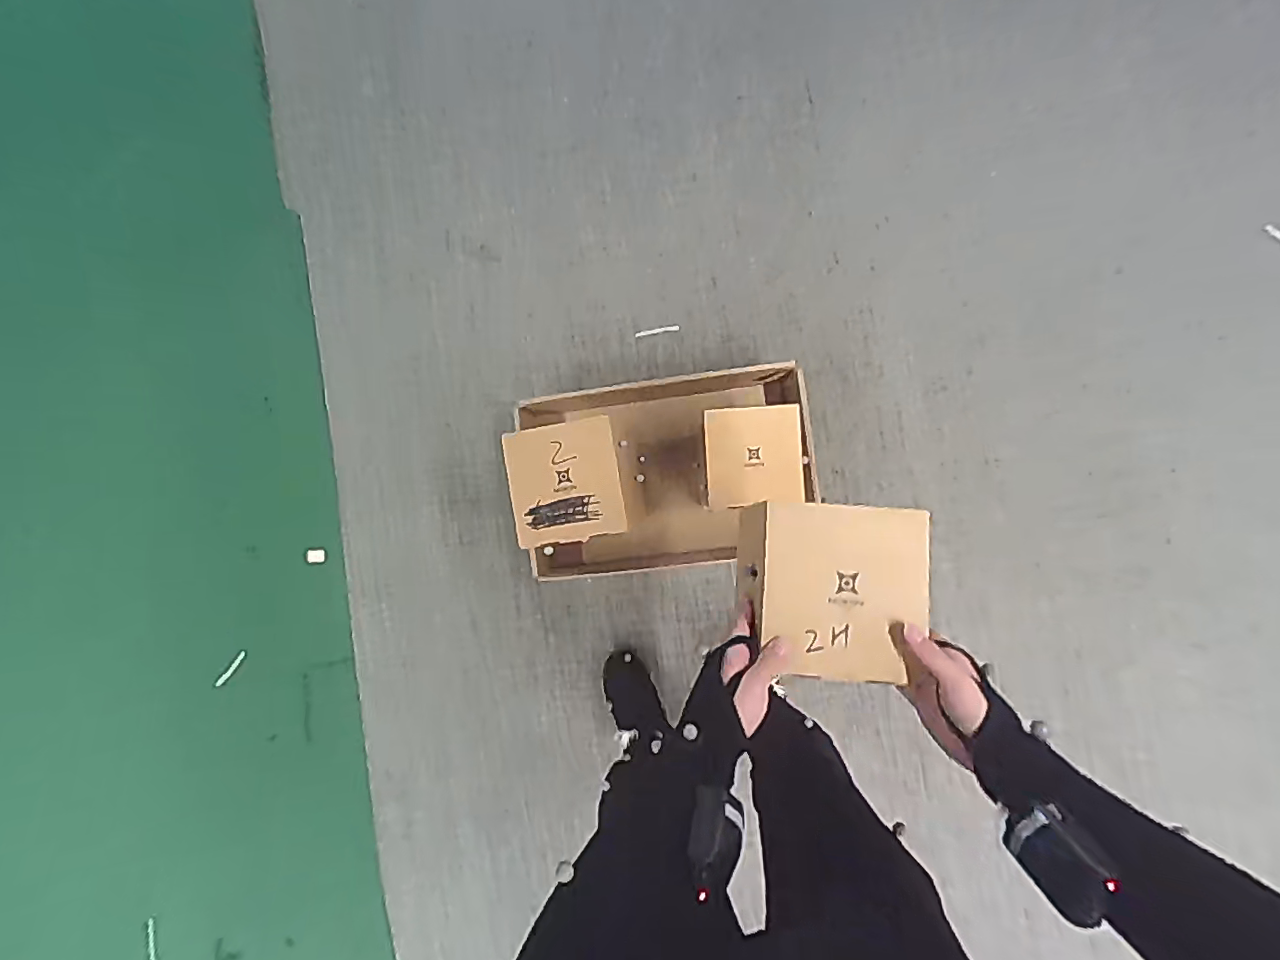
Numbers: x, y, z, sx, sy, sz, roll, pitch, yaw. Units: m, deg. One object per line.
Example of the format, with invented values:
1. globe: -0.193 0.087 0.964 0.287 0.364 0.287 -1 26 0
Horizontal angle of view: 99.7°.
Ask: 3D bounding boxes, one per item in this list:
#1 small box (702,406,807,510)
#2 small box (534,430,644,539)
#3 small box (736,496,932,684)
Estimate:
1. small box: 0.205 -0.036 1.007 0.168 0.176 0.179 -3 90 4
2. small box: -0.089 0.012 1.029 0.168 0.176 0.179 -9 87 6
3. small box: 0.207 0.116 0.619 0.168 0.176 0.179 4 85 1
